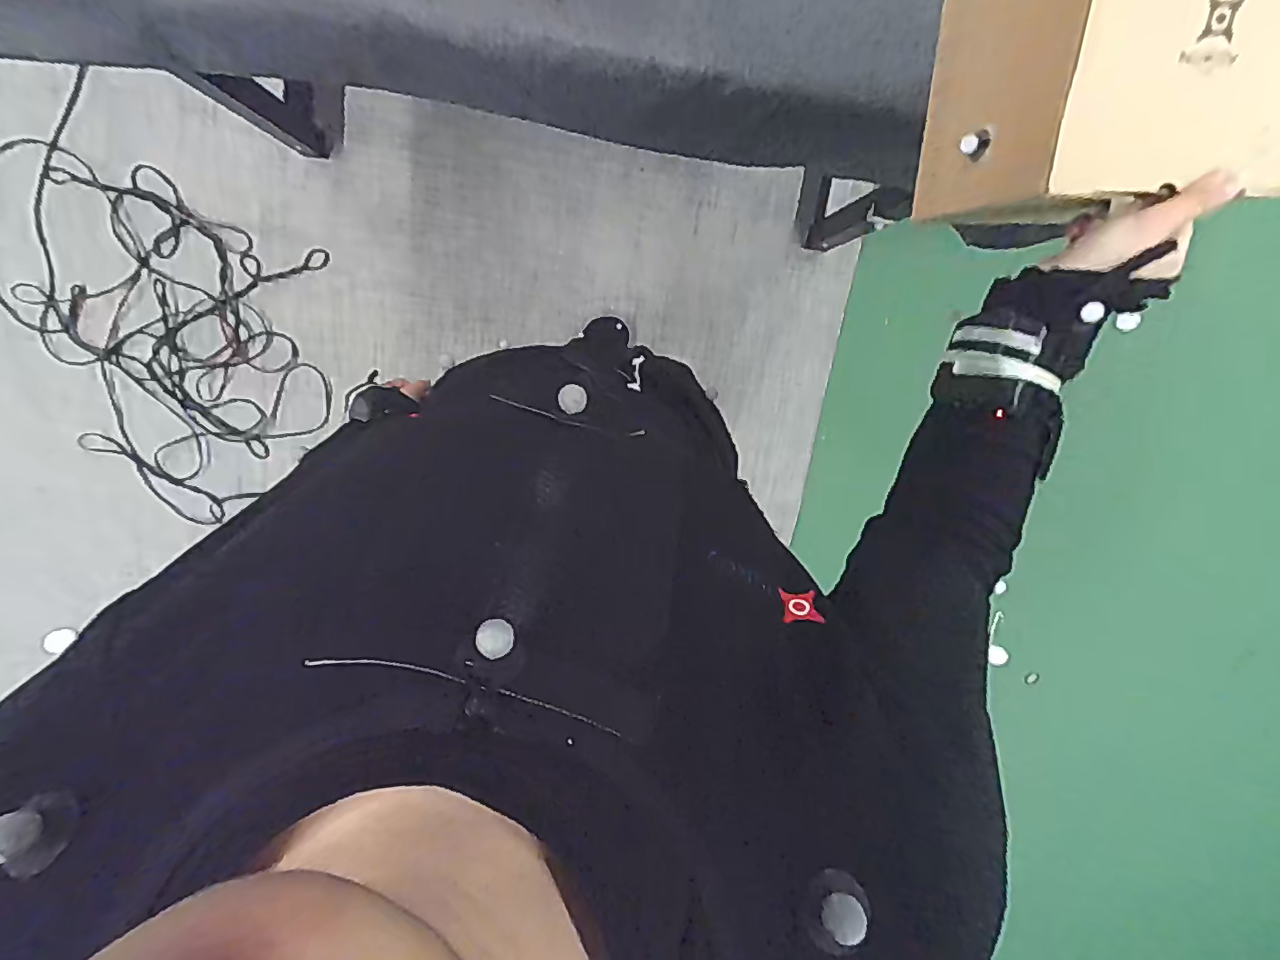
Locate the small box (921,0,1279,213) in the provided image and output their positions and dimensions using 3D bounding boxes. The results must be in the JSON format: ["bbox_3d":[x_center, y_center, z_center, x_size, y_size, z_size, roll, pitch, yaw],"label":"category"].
[{"bbox_3d":[0.329,-0.294,0.384,0.168,0.176,0.179,-2,109,-3],"label":"small box"}]
